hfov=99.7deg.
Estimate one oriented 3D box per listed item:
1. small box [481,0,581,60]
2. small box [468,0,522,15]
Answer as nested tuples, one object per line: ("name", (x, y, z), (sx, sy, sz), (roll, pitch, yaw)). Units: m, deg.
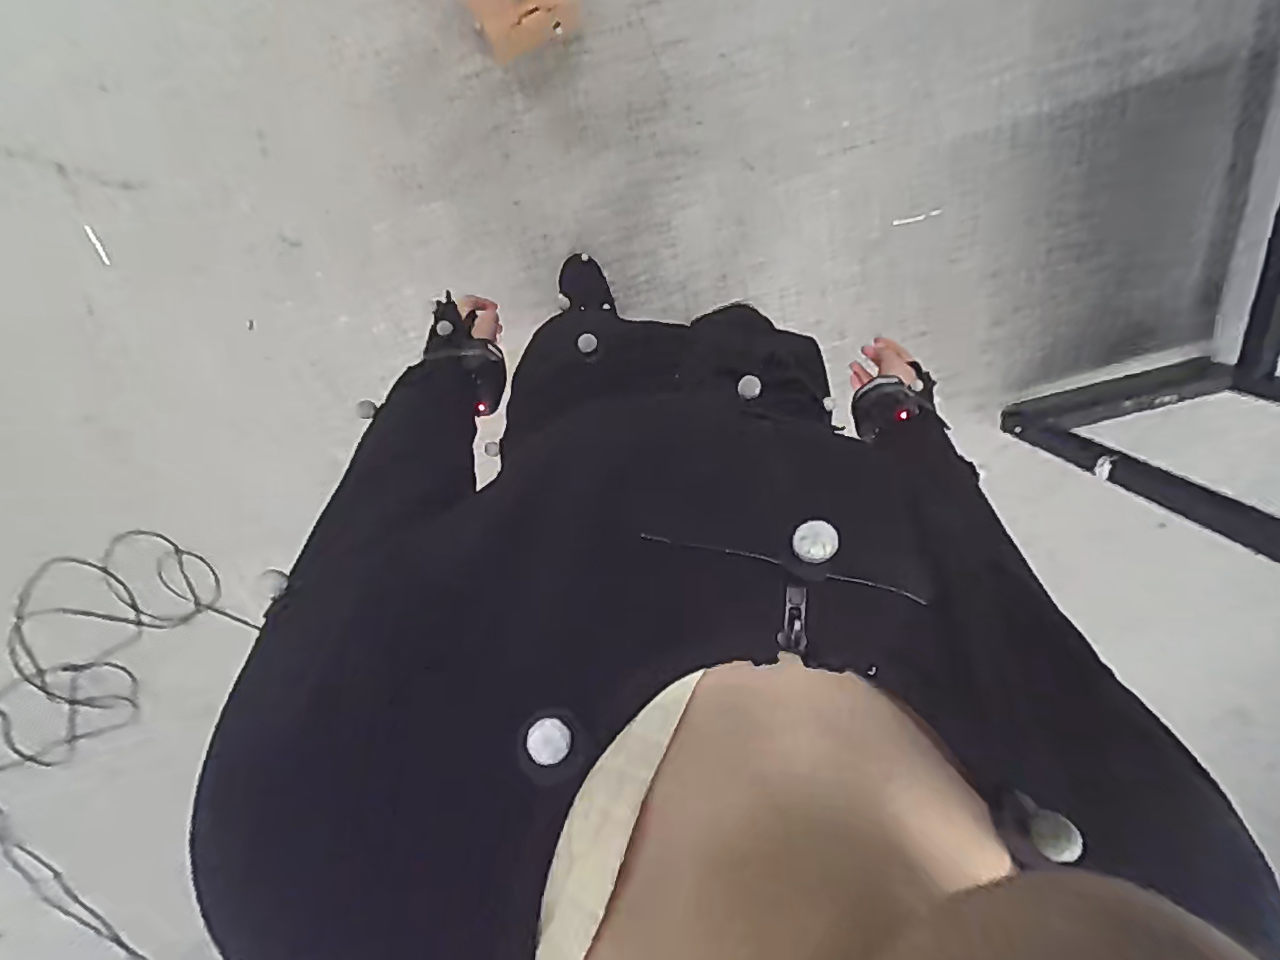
("small box", (-0.205, -0.857, 0.922), (0.168, 0.176, 0.179), (-21, 113, 3))
("small box", (-0.207, -0.806, 0.765), (0.168, 0.176, 0.179), (-22, 115, 4))
